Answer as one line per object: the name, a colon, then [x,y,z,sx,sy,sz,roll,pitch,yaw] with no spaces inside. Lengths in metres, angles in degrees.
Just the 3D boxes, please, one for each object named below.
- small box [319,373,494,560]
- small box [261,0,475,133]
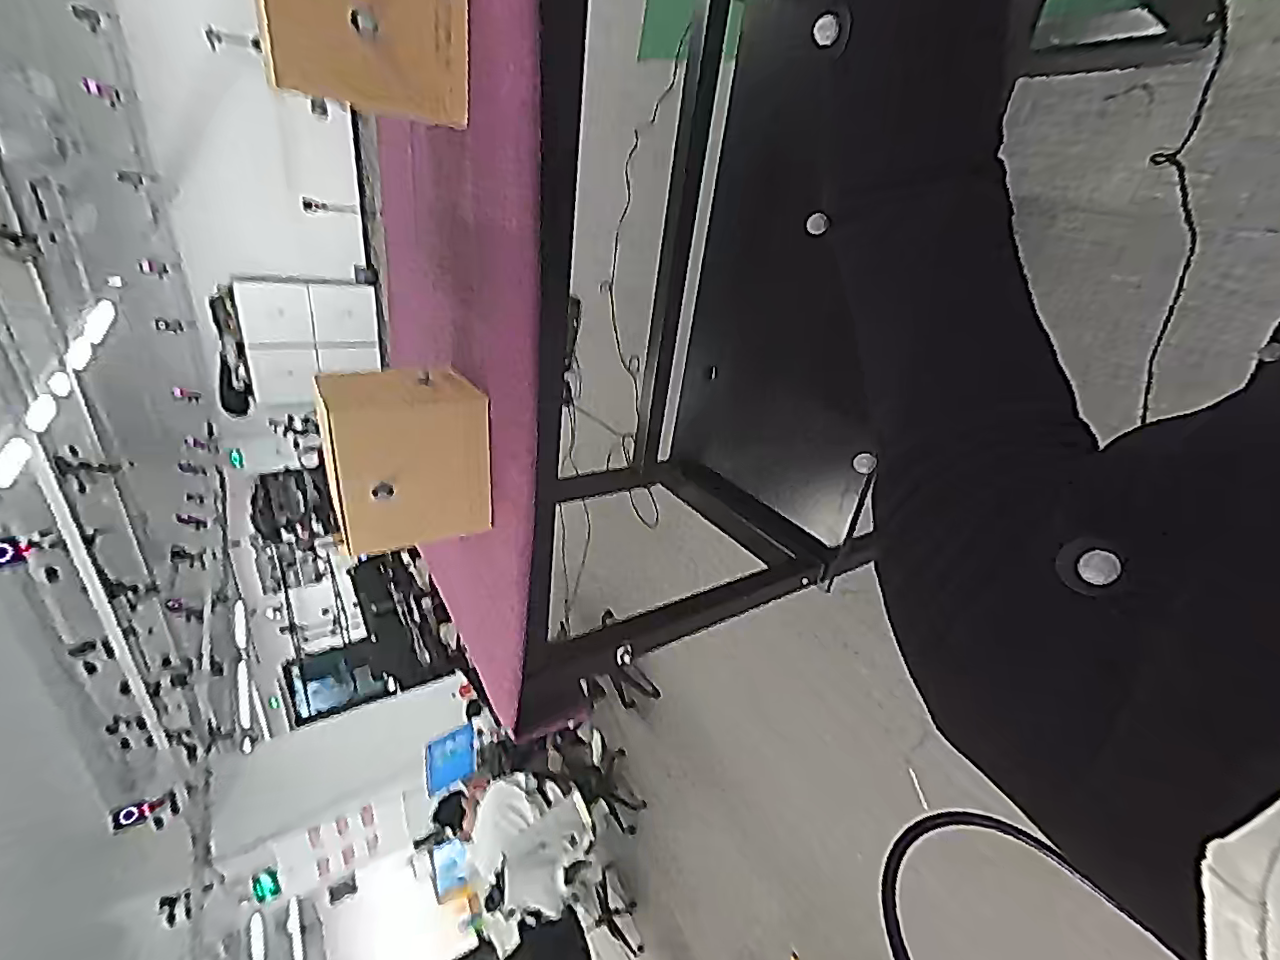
small box: [-0.289,-0.029,0.678,0.168,0.176,0.179,35,127,48]
small box: [-0.265,-0.450,0.526,0.179,0.176,0.168,44,134,45]
